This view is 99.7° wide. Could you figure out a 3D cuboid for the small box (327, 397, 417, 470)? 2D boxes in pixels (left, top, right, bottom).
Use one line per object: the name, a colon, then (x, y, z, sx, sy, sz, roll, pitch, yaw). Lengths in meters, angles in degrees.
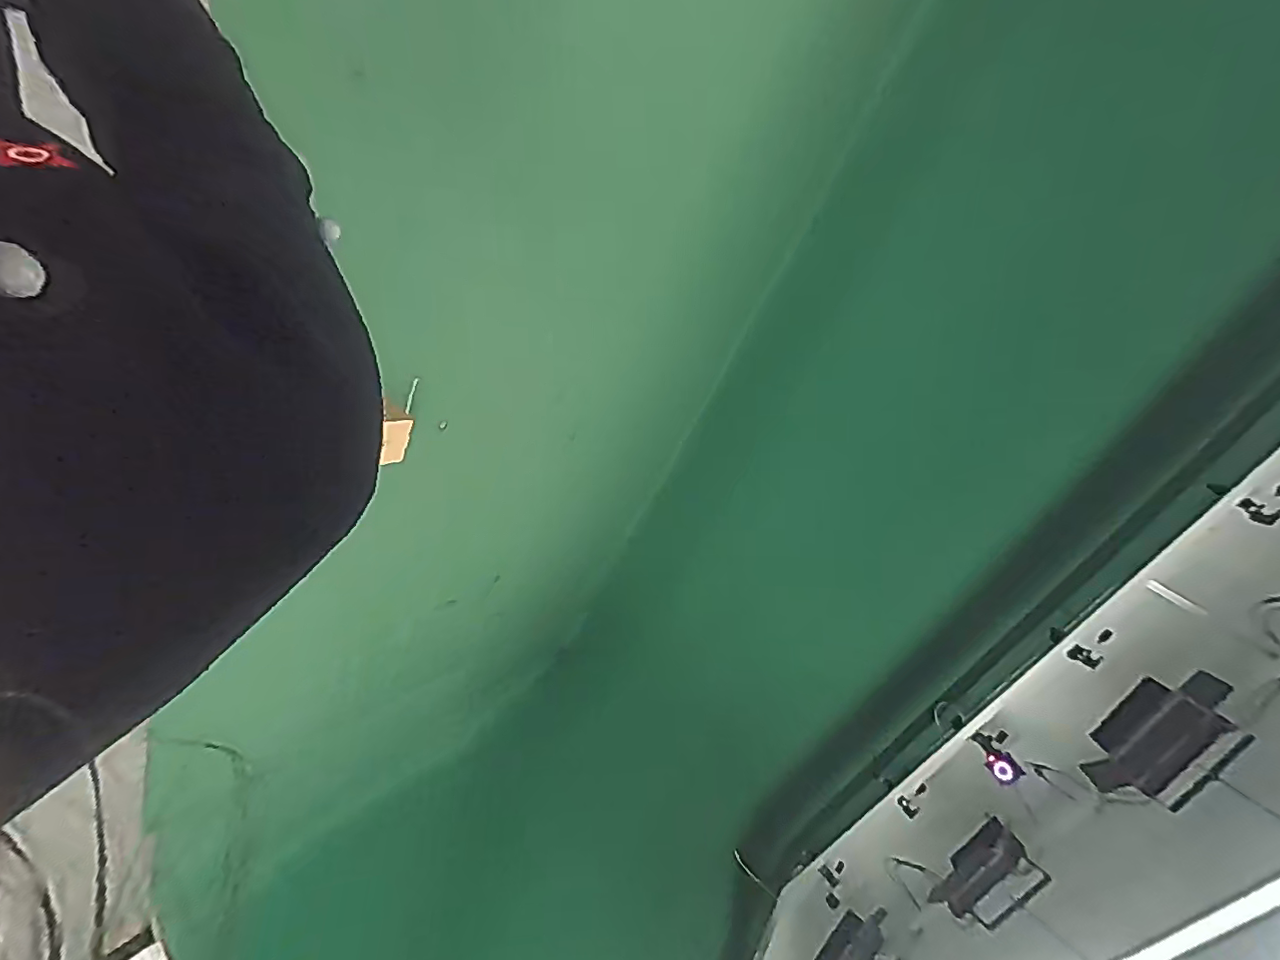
small box: (-0.849, -0.152, 1.710, 0.179, 0.176, 0.168, -14, 136, -58)
